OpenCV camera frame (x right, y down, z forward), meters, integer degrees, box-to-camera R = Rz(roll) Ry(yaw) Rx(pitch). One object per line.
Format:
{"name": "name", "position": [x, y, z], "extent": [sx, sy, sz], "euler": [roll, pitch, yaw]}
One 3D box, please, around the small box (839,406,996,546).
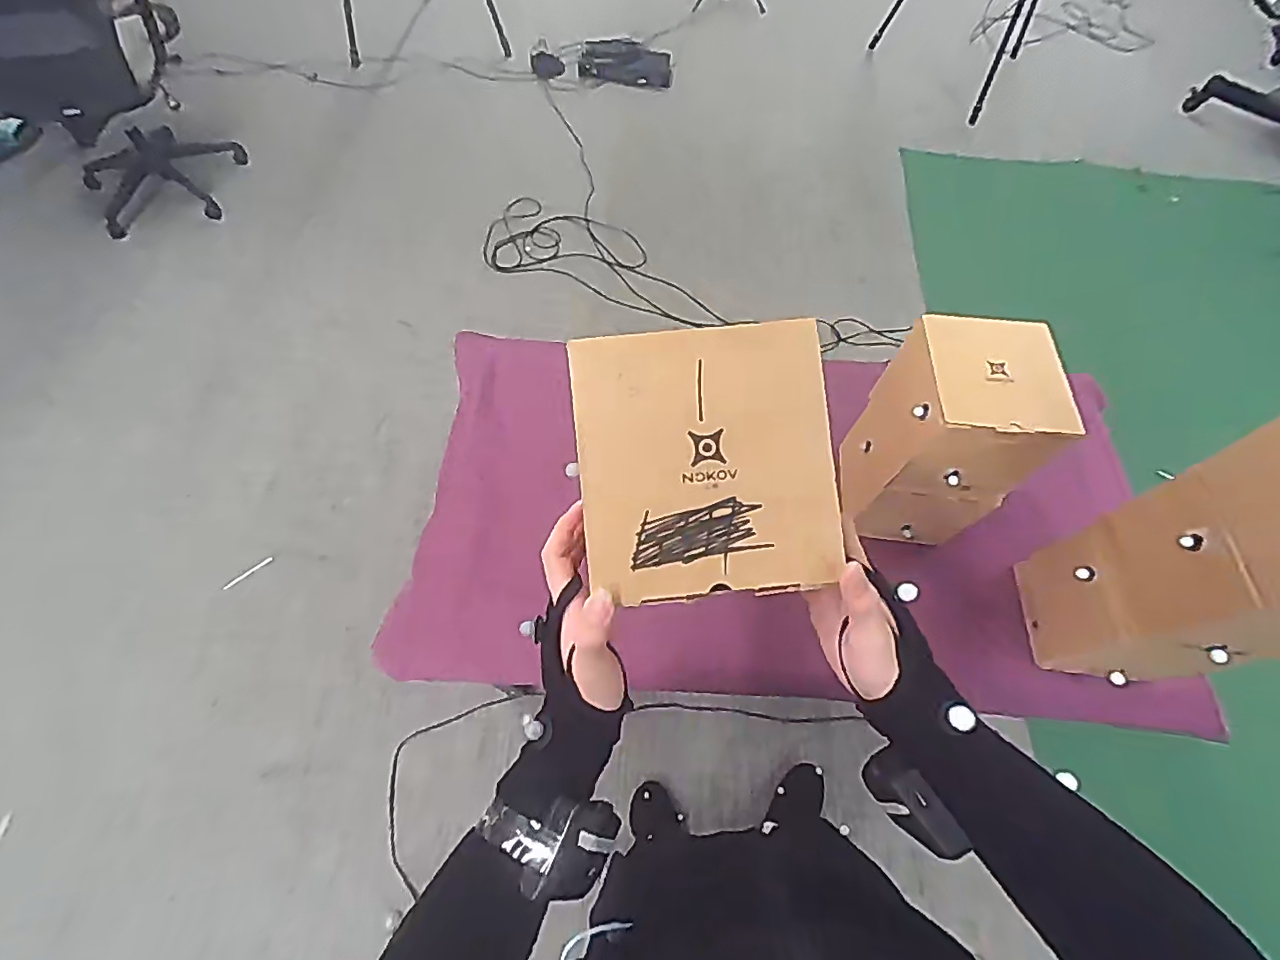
{"name": "small box", "position": [0.434, -0.013, 0.877], "extent": [0.168, 0.176, 0.179], "euler": [8, 62, 2]}

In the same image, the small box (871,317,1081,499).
{"name": "small box", "position": [0.433, -0.092, 0.735], "extent": [0.168, 0.176, 0.179], "euler": [5, 62, 0]}

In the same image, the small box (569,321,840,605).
{"name": "small box", "position": [0.040, -0.008, 0.430], "extent": [0.168, 0.176, 0.179], "euler": [-6, 86, -2]}

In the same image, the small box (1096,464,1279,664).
{"name": "small box", "position": [0.696, 0.105, 0.640], "extent": [0.168, 0.176, 0.179], "euler": [7, 62, 3]}

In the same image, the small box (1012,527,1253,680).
{"name": "small box", "position": [0.689, 0.185, 0.782], "extent": [0.179, 0.176, 0.168], "euler": [8, 61, 2]}
